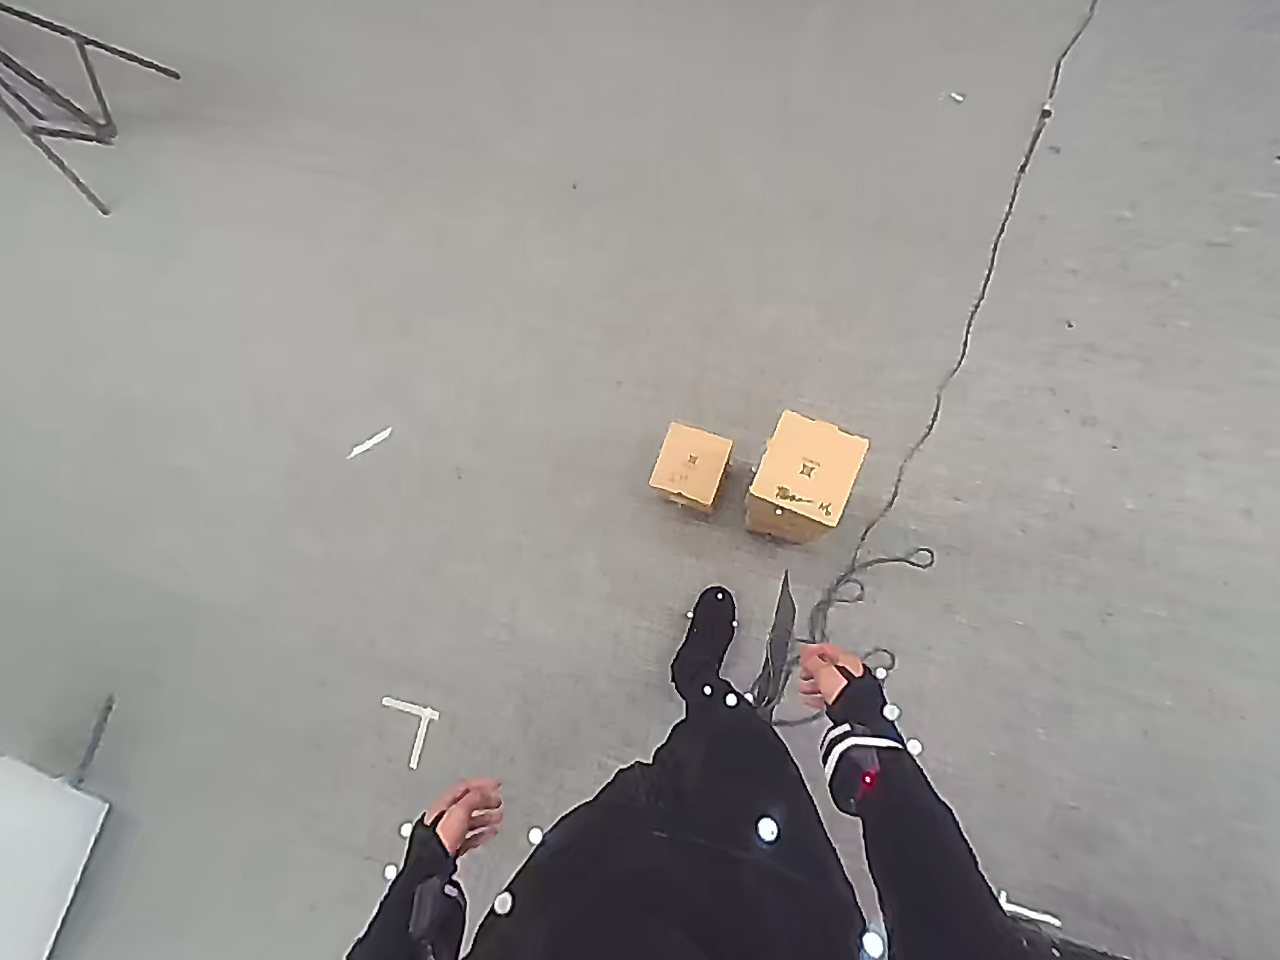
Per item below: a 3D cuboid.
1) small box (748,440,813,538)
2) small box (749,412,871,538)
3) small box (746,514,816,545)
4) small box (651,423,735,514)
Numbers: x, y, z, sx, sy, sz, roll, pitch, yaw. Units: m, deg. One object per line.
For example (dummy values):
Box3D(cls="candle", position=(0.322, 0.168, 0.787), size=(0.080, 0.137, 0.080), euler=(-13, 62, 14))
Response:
Box3D(cls="small box", position=(0.347, 0.028, 1.218), size=(0.179, 0.176, 0.168), euler=(16, 81, 11))
Box3D(cls="small box", position=(0.321, -0.003, 1.058), size=(0.168, 0.176, 0.179), euler=(23, 82, 13))
Box3D(cls="small box", position=(0.370, 0.058, 1.376), size=(0.168, 0.176, 0.179), euler=(14, 82, 11))
Box3D(cls="small box", position=(0.142, -0.024, 1.423), size=(0.168, 0.176, 0.179), euler=(19, 83, 12))
